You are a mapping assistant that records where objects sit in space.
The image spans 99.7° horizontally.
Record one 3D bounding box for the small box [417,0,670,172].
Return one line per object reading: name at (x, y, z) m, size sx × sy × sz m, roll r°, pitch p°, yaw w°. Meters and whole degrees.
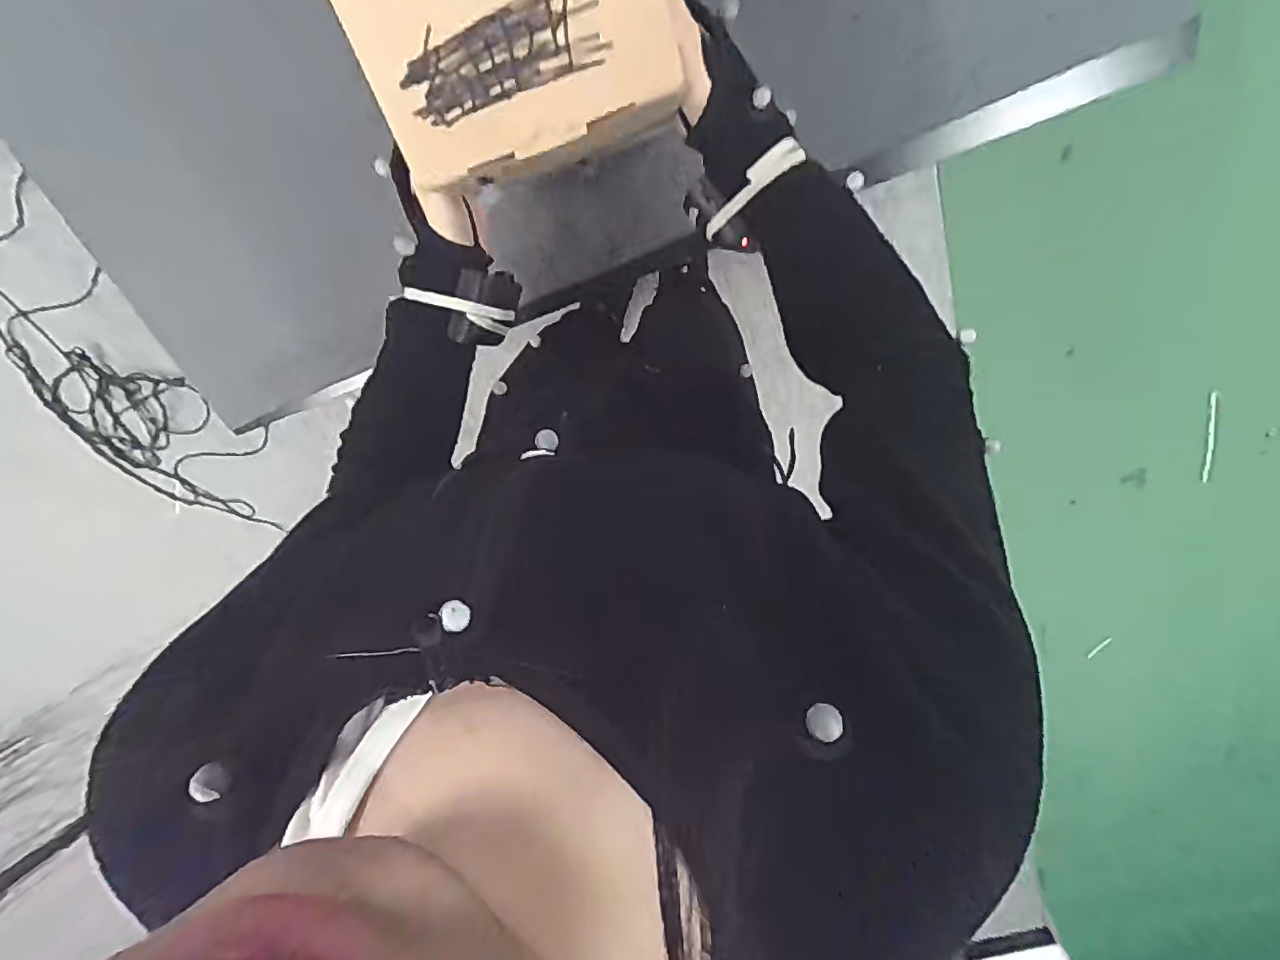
small box at (-0.081, -0.390, 0.468) m, size 0.168 × 0.176 × 0.179 m, roll -17°, pitch 117°, yaw 8°
